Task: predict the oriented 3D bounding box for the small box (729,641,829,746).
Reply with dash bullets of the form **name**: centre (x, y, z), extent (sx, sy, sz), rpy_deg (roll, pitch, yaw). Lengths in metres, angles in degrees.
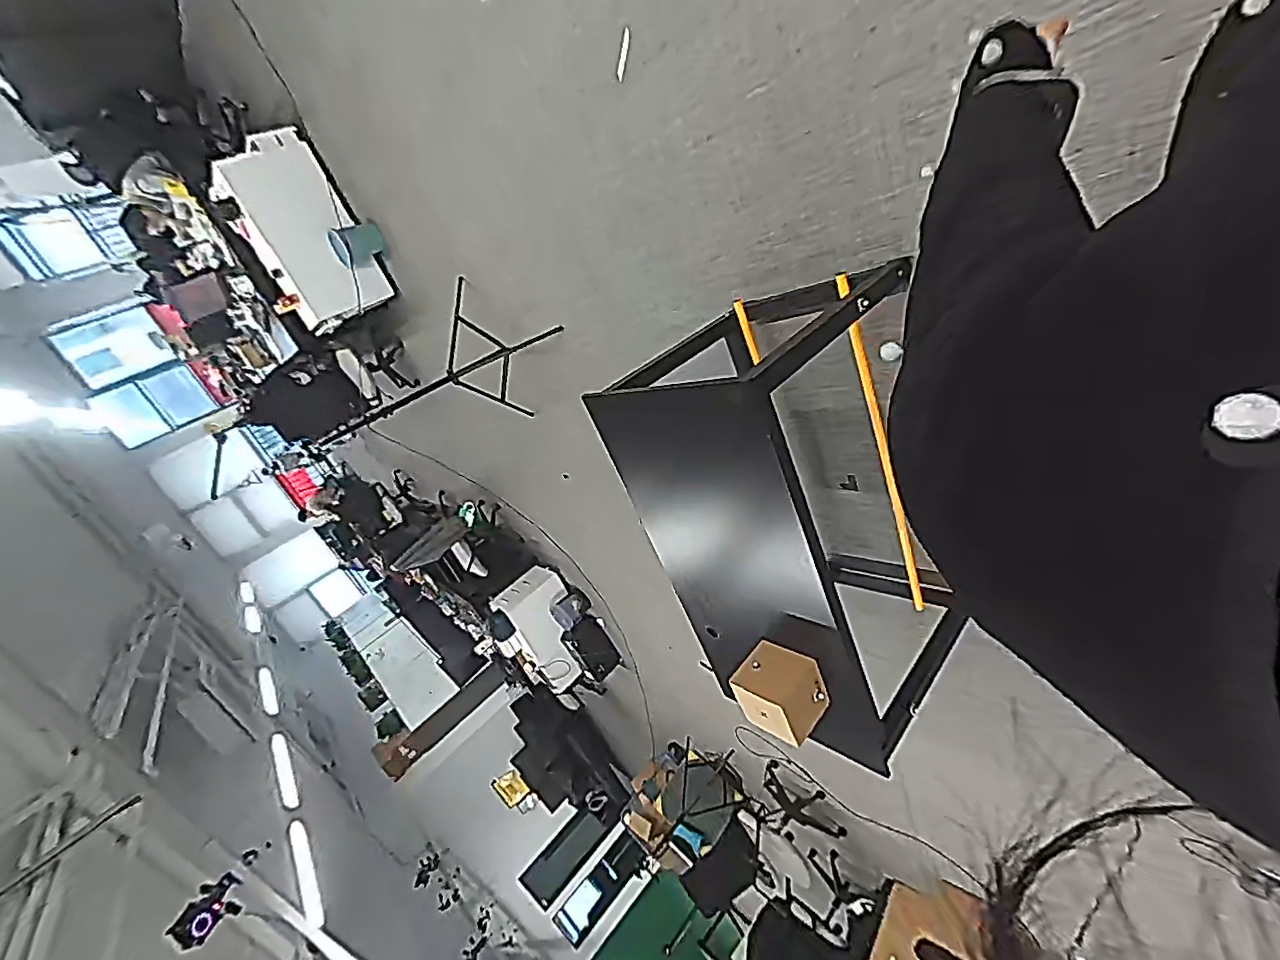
- **small box**: centre (0.376, 0.565, 1.459), extent (0.179, 0.176, 0.168), rpy_deg (6, 129, 51)
